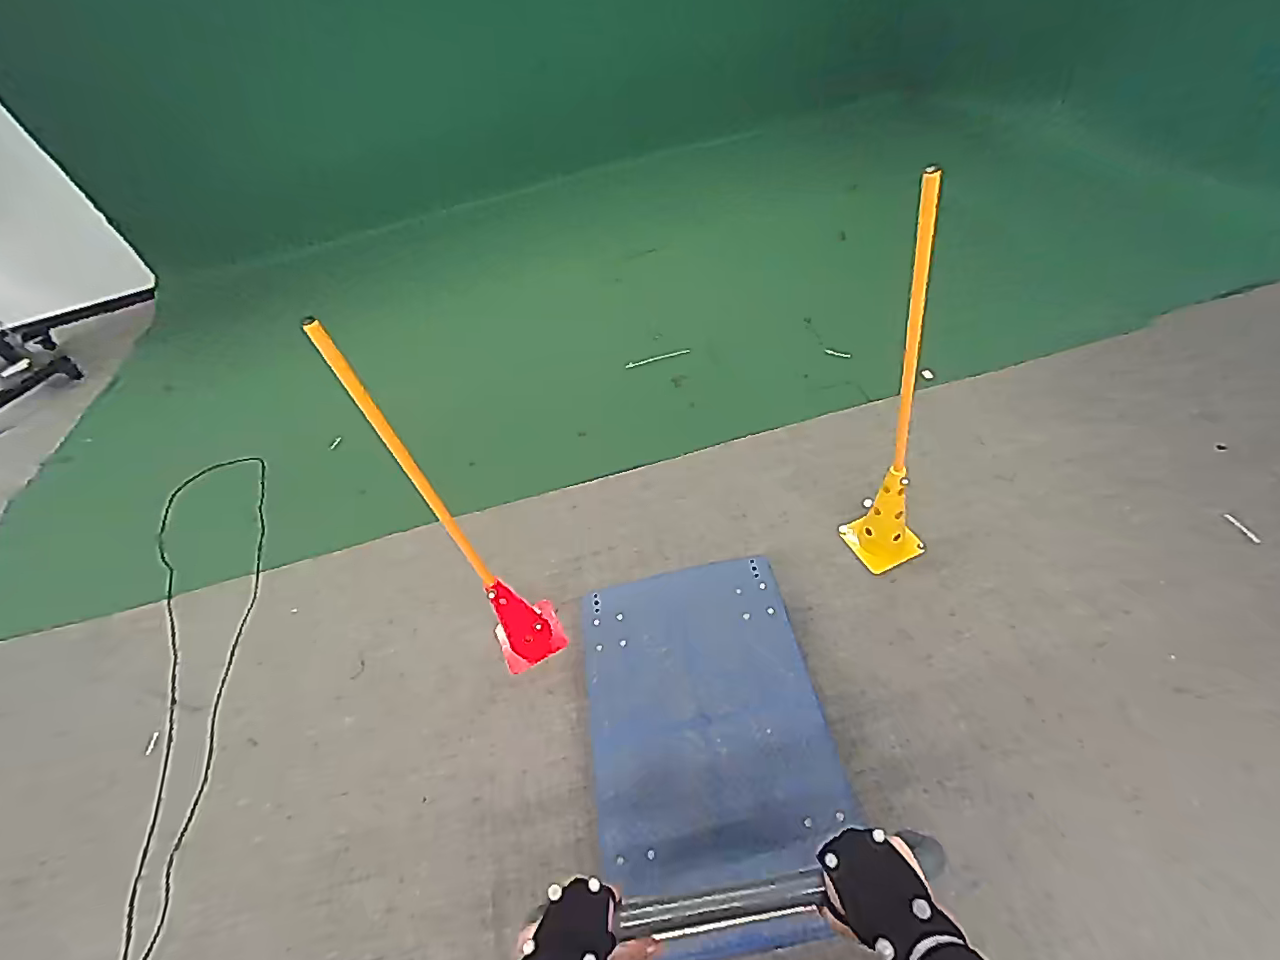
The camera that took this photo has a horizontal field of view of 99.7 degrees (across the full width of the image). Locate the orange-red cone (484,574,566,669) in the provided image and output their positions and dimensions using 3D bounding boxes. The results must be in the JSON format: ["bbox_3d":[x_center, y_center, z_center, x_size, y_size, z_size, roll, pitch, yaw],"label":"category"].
[{"bbox_3d":[-0.387,0.391,1.636,0.199,0.360,0.198,-27,49,-8],"label":"orange-red cone"}]
